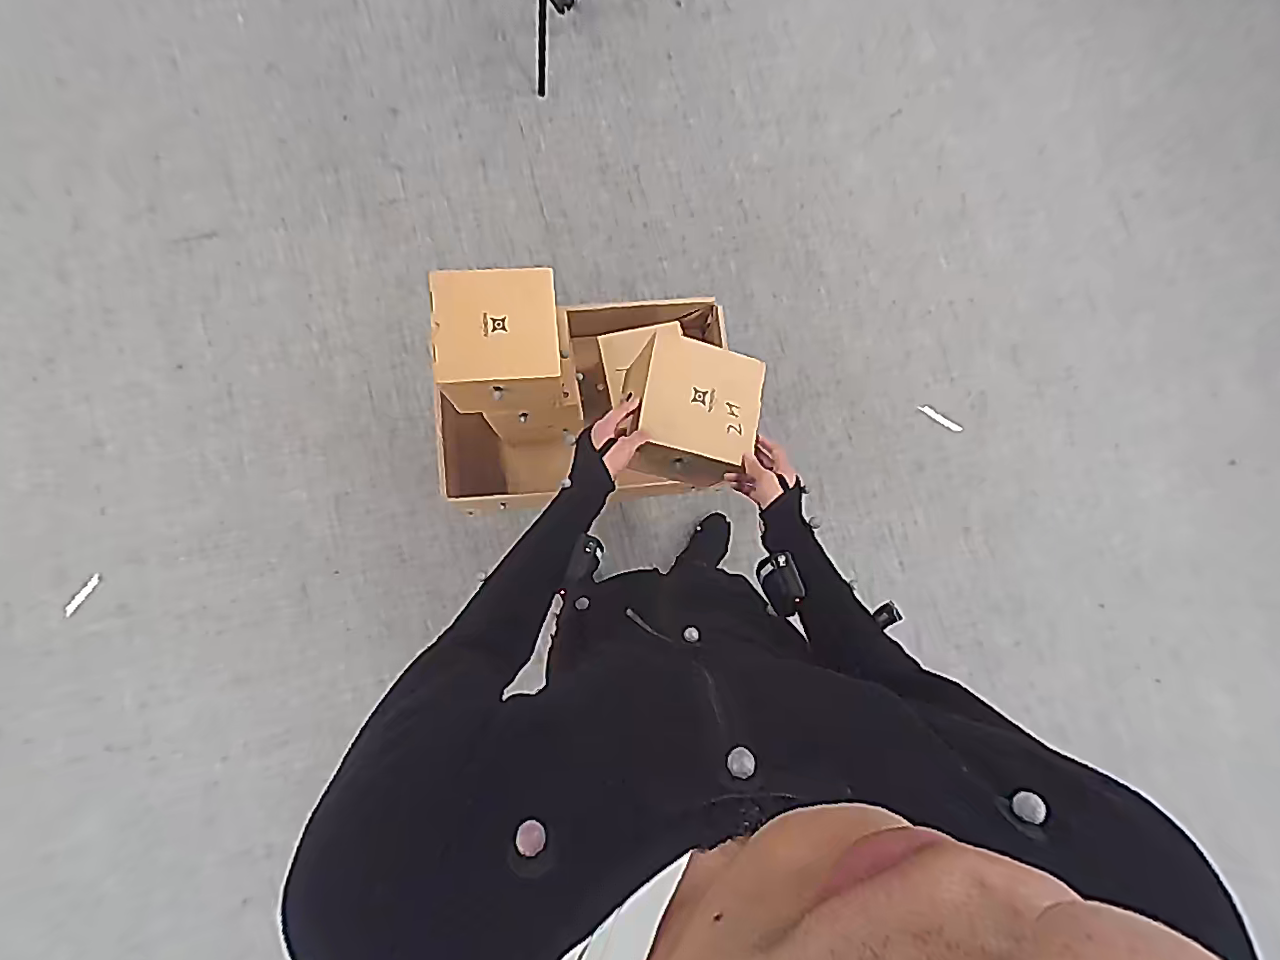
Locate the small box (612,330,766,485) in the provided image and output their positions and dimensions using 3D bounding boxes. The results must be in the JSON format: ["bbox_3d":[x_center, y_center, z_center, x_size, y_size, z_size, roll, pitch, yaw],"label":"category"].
[{"bbox_3d":[0.066,-0.097,0.824,0.179,0.176,0.168,14,77,-14],"label":"small box"}]

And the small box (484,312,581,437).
[{"bbox_3d":[-0.202,-0.190,1.005,0.168,0.176,0.179,-8,84,-7],"label":"small box"}]

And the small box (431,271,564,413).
[{"bbox_3d":[-0.211,-0.207,0.841,0.179,0.176,0.168,-5,84,-6],"label":"small box"}]
